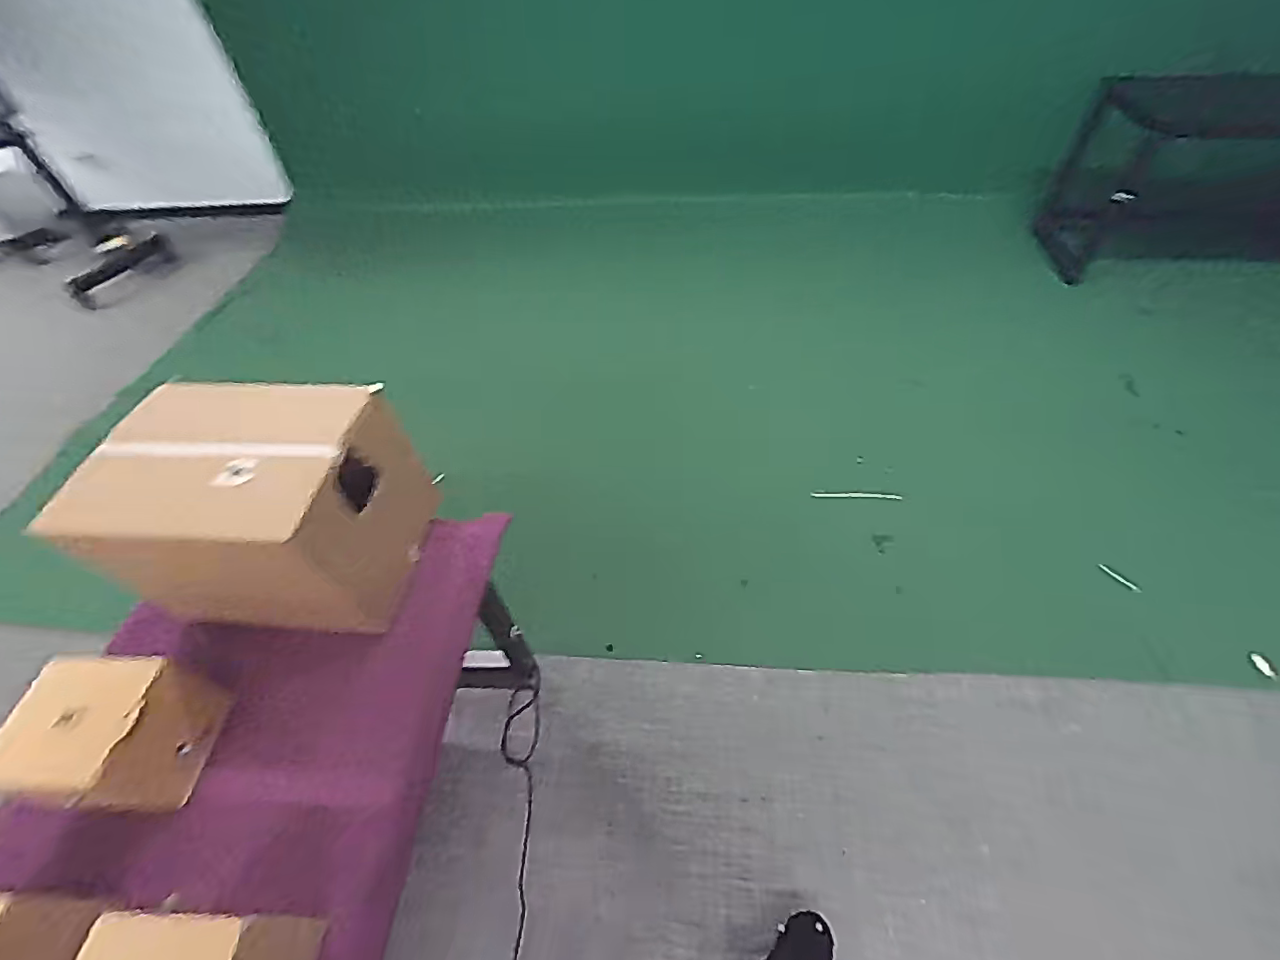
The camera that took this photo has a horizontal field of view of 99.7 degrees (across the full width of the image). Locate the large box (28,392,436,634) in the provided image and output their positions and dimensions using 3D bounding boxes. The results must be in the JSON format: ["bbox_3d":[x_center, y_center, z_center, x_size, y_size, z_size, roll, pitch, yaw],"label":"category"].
[{"bbox_3d":[-0.640,0.062,0.944,0.408,0.320,0.320,1,52,4],"label":"large box"}]
